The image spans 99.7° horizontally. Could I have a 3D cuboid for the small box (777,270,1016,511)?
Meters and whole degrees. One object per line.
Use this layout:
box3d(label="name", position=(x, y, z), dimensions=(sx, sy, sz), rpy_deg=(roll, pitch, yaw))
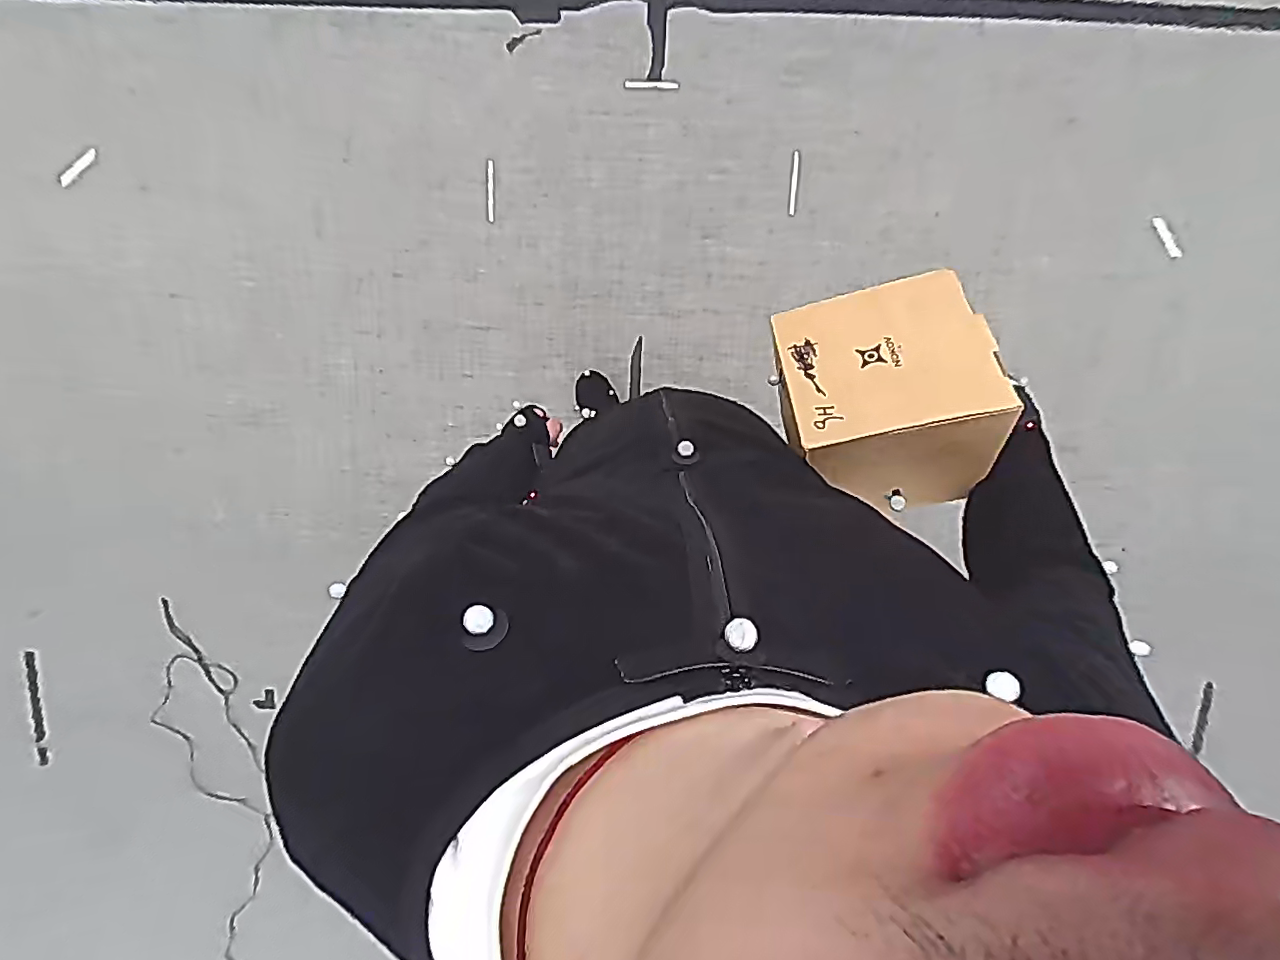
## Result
box3d(label="small box", position=(0.249, -0.083, 0.573), dimensions=(0.179, 0.176, 0.168), rpy_deg=(-11, 59, 13))
